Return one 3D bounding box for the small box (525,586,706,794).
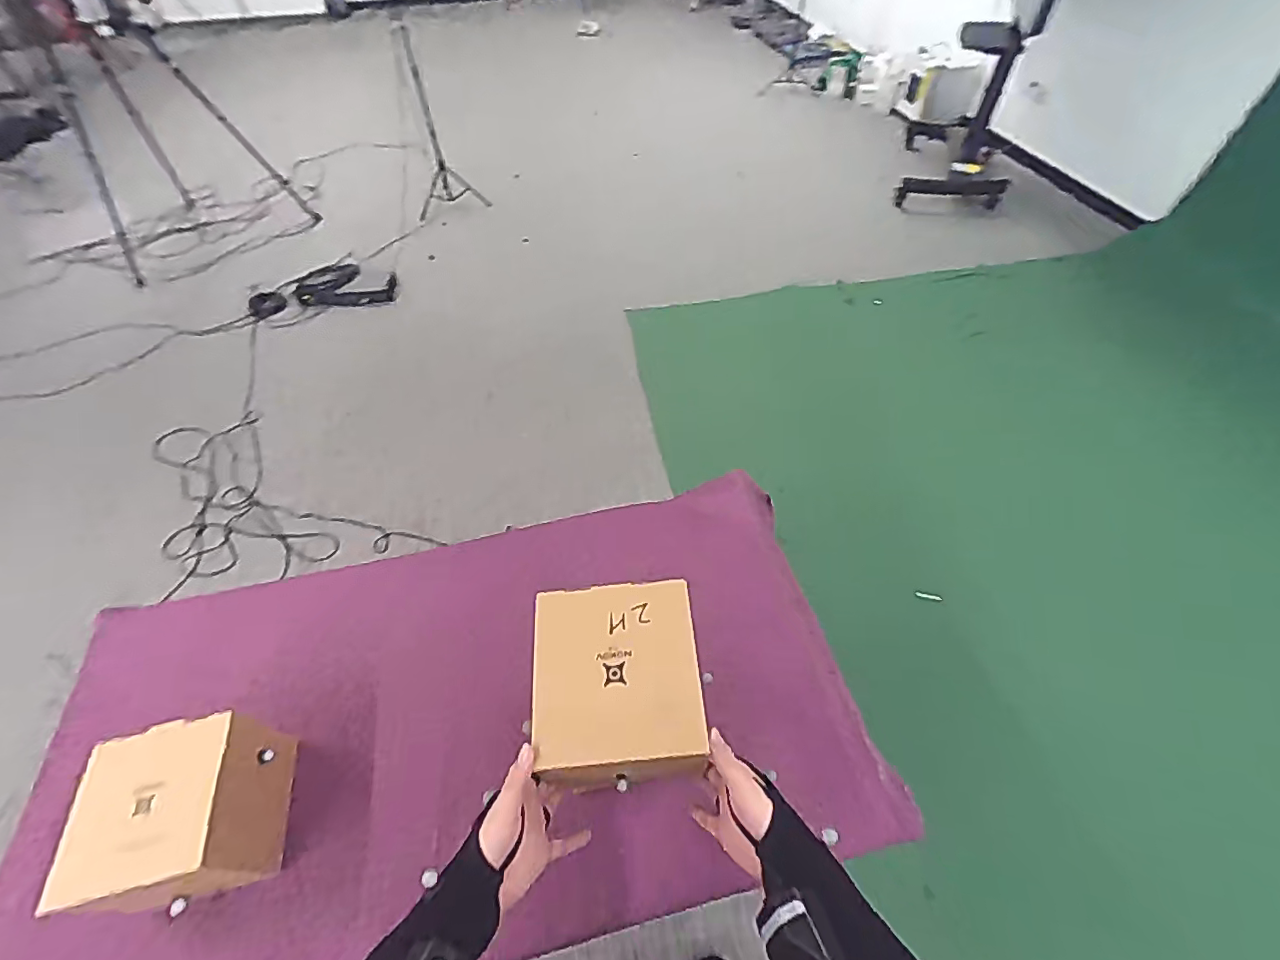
[{"bbox_3d":[-0.021,0.234,0.588,0.168,0.176,0.179,-4,54,0],"label":"small box"}]

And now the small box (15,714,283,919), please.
[{"bbox_3d":[-0.587,0.426,0.684,0.168,0.176,0.179,-11,52,-8],"label":"small box"}]
